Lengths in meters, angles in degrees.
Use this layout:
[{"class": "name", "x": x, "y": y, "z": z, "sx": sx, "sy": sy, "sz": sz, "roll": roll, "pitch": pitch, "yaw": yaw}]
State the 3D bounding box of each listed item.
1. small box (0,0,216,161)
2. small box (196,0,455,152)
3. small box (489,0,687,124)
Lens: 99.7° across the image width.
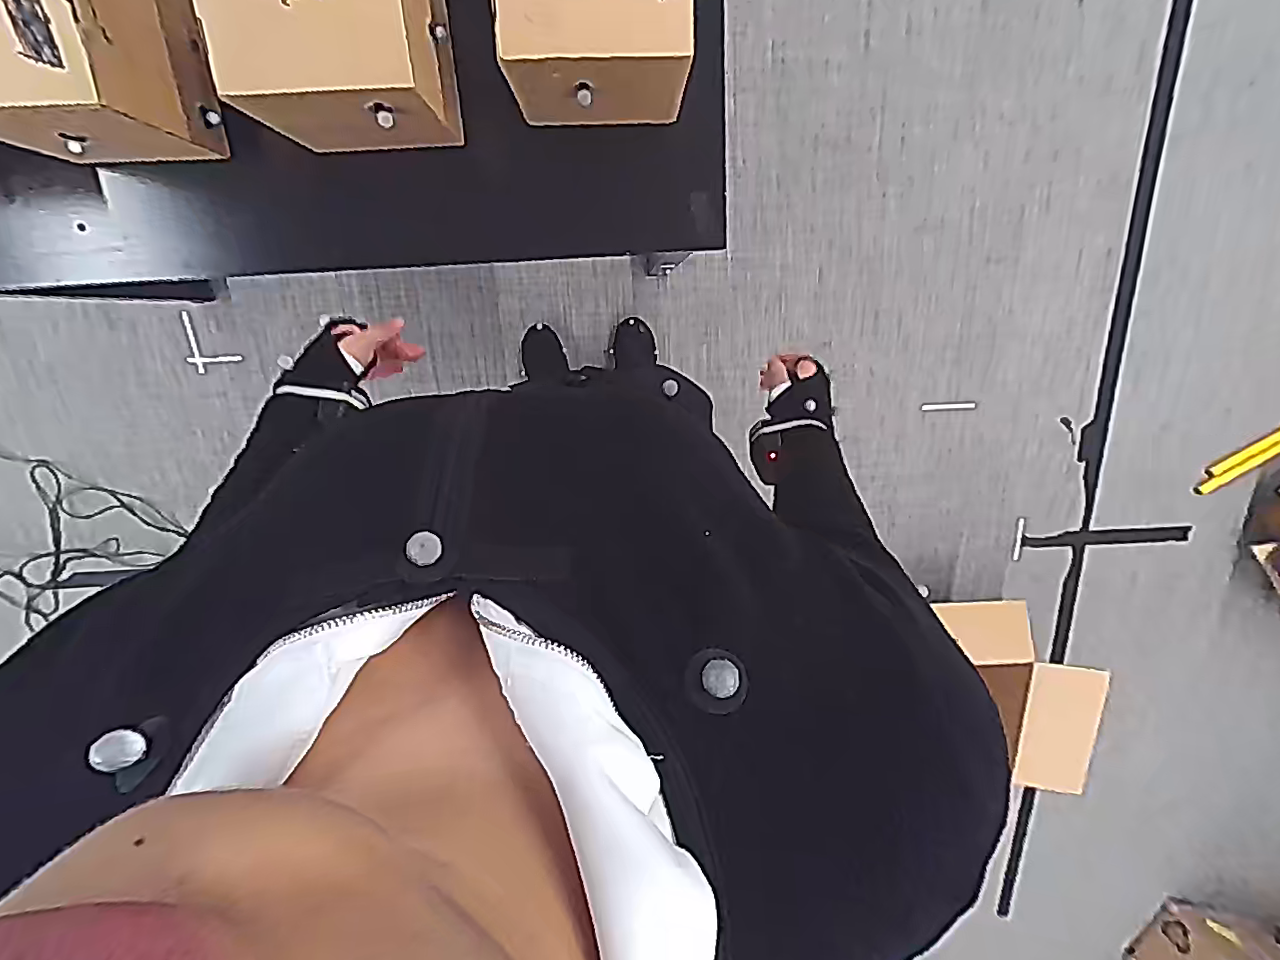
[{"class": "small box", "x": -0.563, "y": -0.427, "z": 0.528, "sx": 0.179, "sy": 0.176, "sz": 0.168, "roll": -3, "pitch": 107, "yaw": -1}, {"class": "small box", "x": -0.294, "y": -0.443, "z": 0.533, "sx": 0.179, "sy": 0.176, "sz": 0.168, "roll": -5, "pitch": 106, "yaw": -2}, {"class": "small box", "x": -0.046, "y": -0.474, "z": 0.535, "sx": 0.179, "sy": 0.176, "sz": 0.168, "roll": -2, "pitch": 106, "yaw": 0}]
